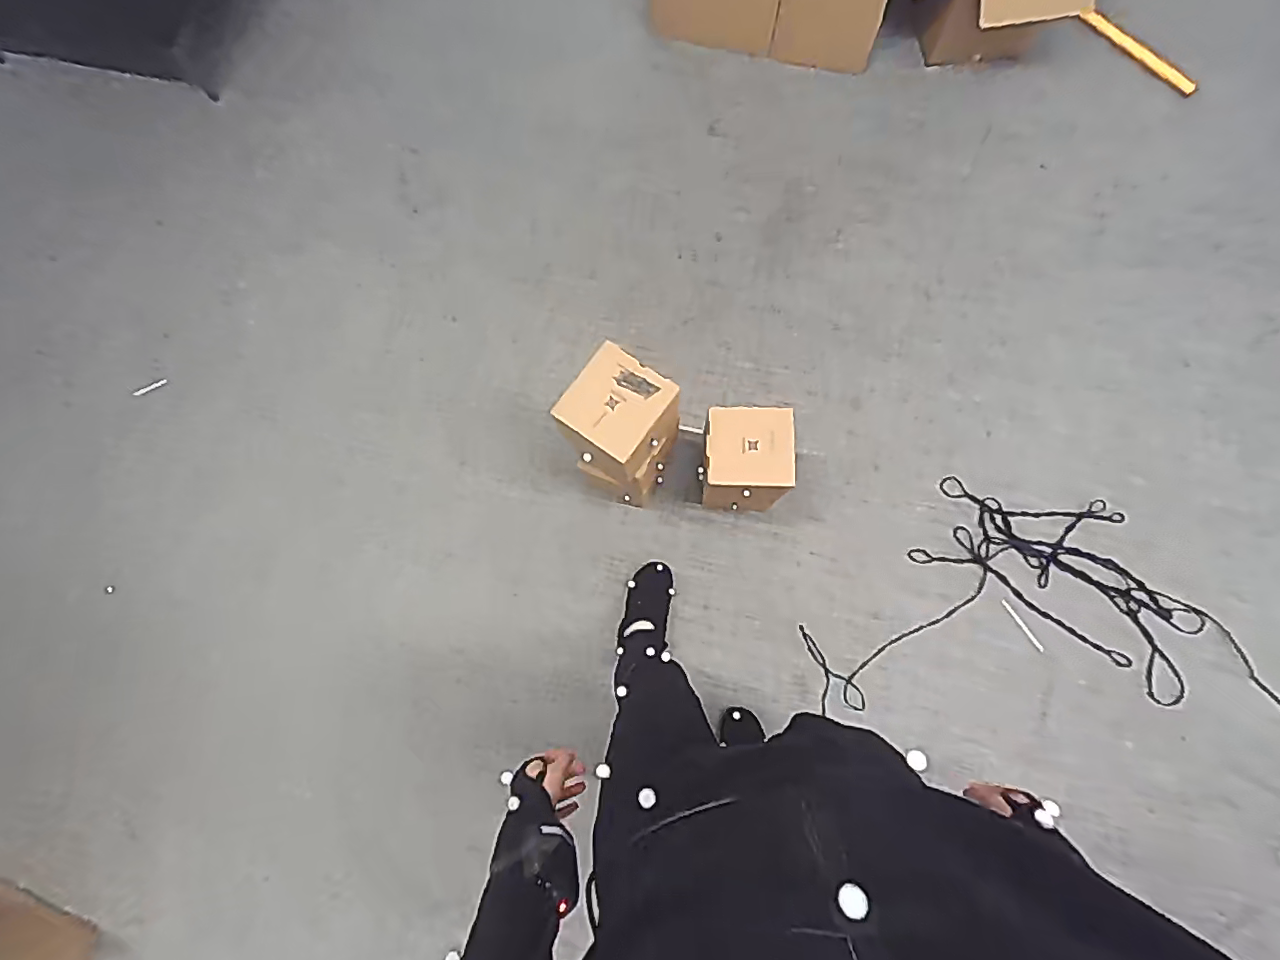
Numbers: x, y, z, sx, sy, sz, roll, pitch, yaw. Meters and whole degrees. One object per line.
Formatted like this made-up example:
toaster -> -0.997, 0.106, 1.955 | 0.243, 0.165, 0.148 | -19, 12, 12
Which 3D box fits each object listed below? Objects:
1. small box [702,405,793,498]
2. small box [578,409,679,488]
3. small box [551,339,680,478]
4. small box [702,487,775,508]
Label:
small box -> 0.226, -0.056, 1.171 | 0.179, 0.176, 0.168 | 2, 78, 4
small box -> -0.031, -0.099, 1.196 | 0.179, 0.176, 0.168 | 30, 80, 8
small box -> -0.042, -0.128, 1.035 | 0.168, 0.176, 0.179 | 35, 81, 9
small box -> 0.244, -0.032, 1.331 | 0.168, 0.176, 0.179 | 6, 77, 5
